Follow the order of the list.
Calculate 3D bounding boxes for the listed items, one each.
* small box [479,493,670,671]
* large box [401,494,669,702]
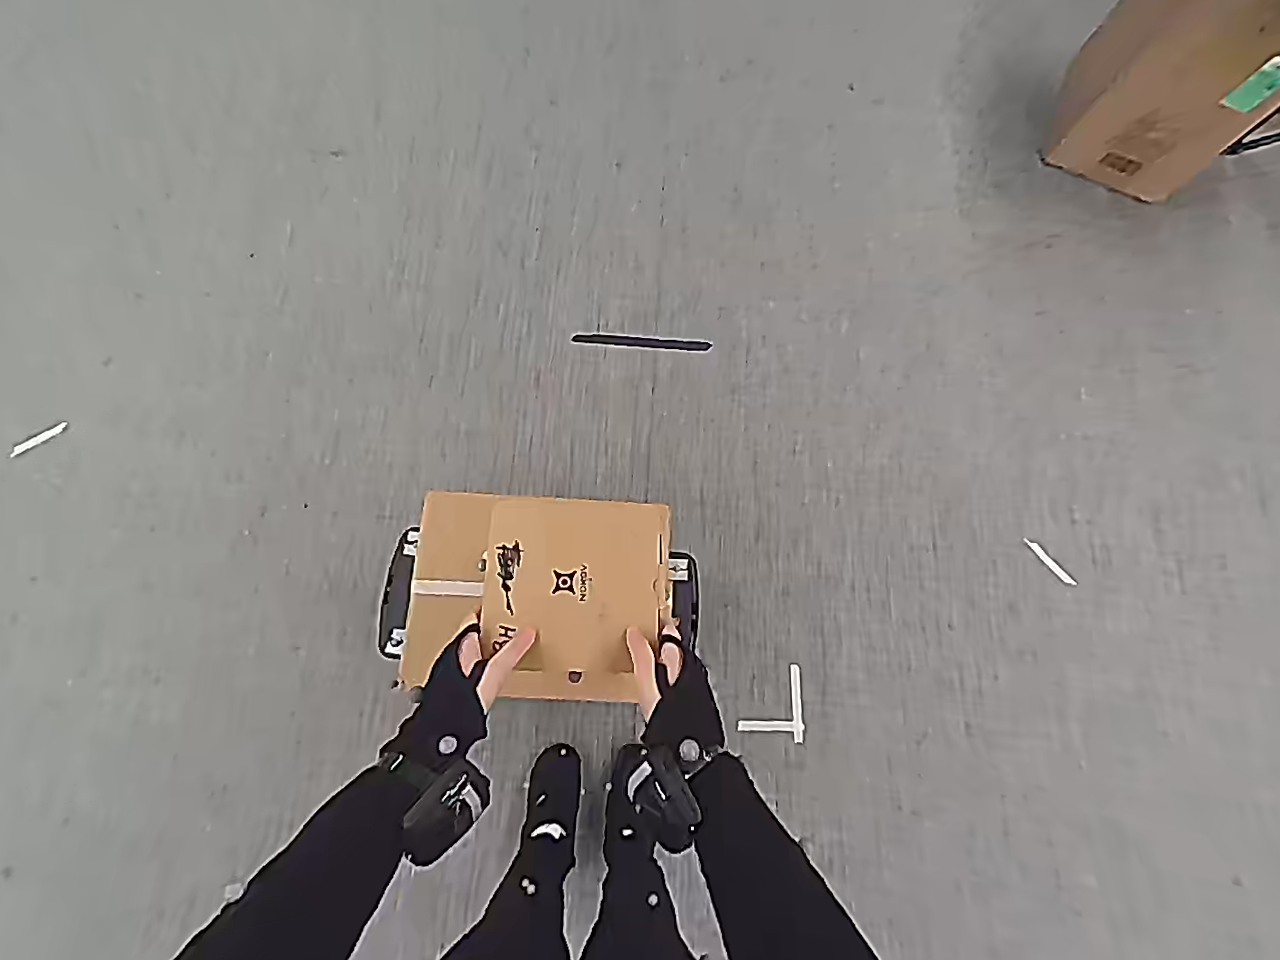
[{"bbox_3d":[-0.065,0.119,0.603,0.179,0.176,0.168,3,72,-3],"label":"small box"},{"bbox_3d":[-0.158,0.218,0.995,0.408,0.320,0.320,3,73,-1],"label":"large box"}]
